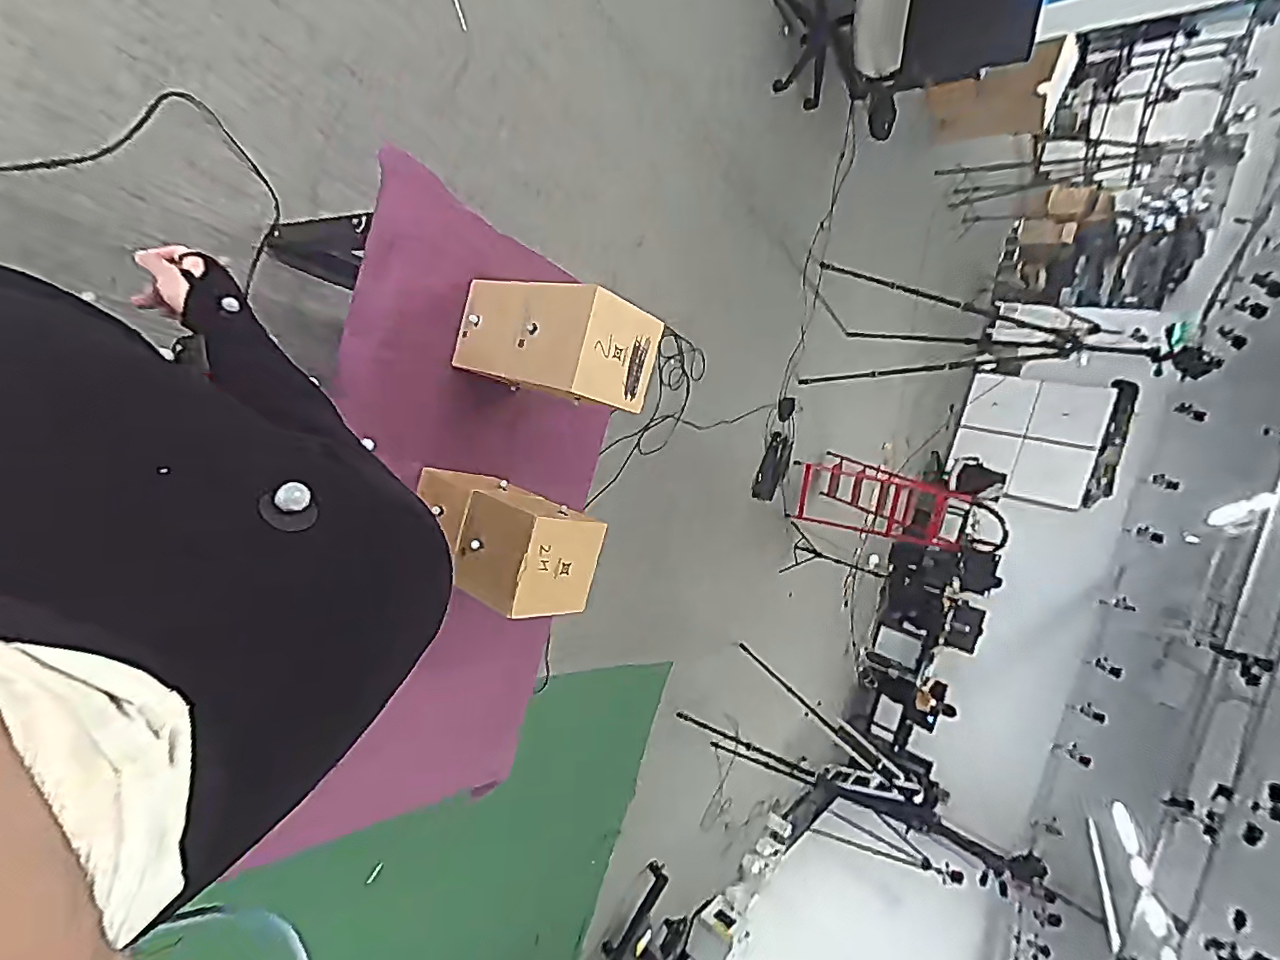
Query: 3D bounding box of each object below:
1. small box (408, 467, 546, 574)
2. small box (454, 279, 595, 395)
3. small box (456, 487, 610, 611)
[{"bbox_3d":[-0.315,0.076,1.040,0.179,0.176,0.168,10,95,-54],"label":"small box"},{"bbox_3d":[-0.218,-0.271,1.023,0.179,0.176,0.168,10,96,-52],"label":"small box"},{"bbox_3d":[-0.186,0.116,0.947,0.179,0.176,0.168,12,93,-53],"label":"small box"}]
